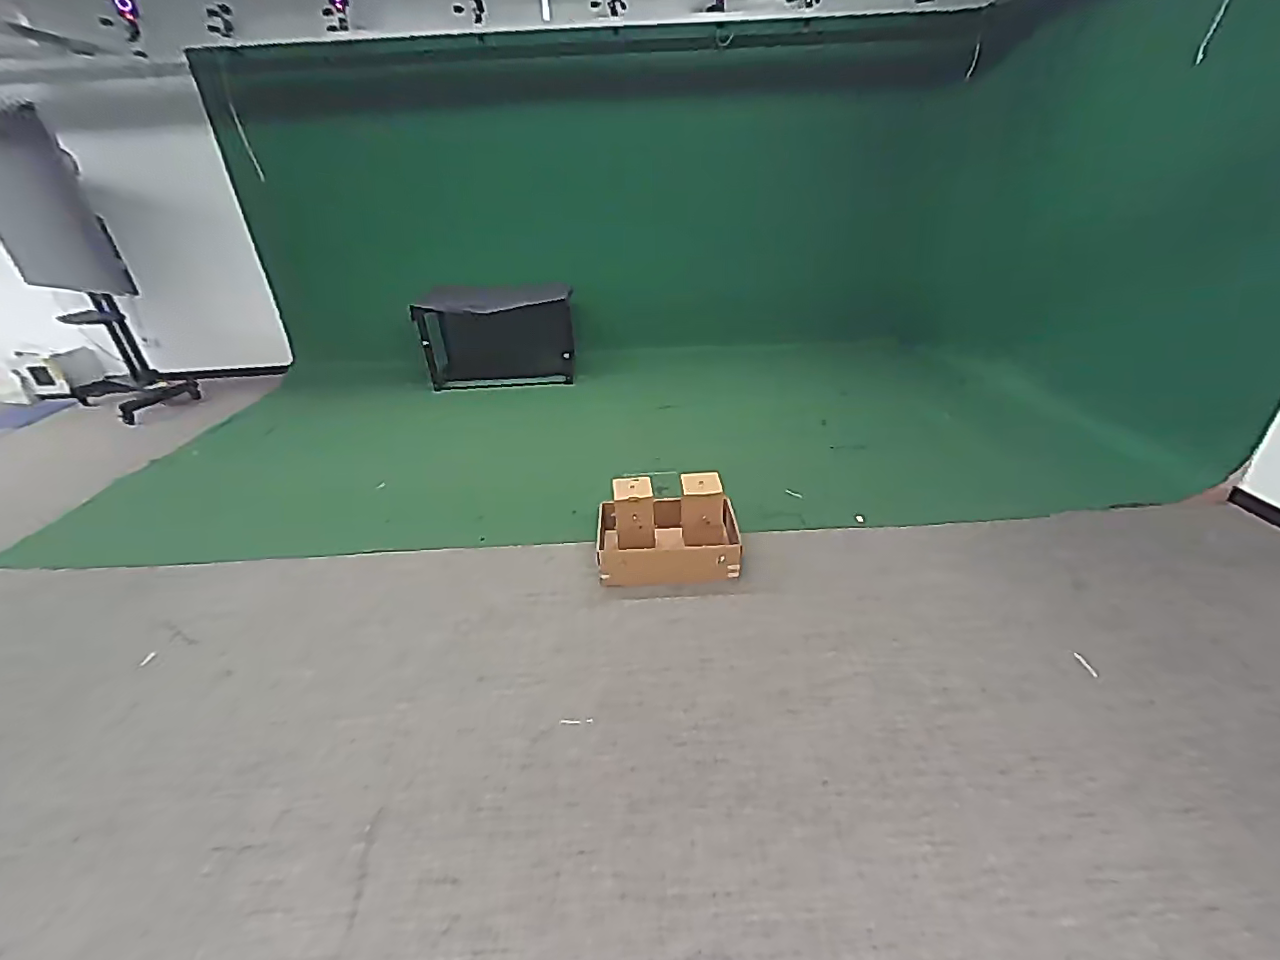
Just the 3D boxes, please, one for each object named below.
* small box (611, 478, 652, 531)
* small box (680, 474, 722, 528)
[{"bbox_3d":[-0.037,0.111,2.349,0.168,0.176,0.179,-4,31,-2],"label":"small box"},{"bbox_3d":[0.260,0.090,2.358,0.168,0.176,0.179,-4,31,0],"label":"small box"}]
